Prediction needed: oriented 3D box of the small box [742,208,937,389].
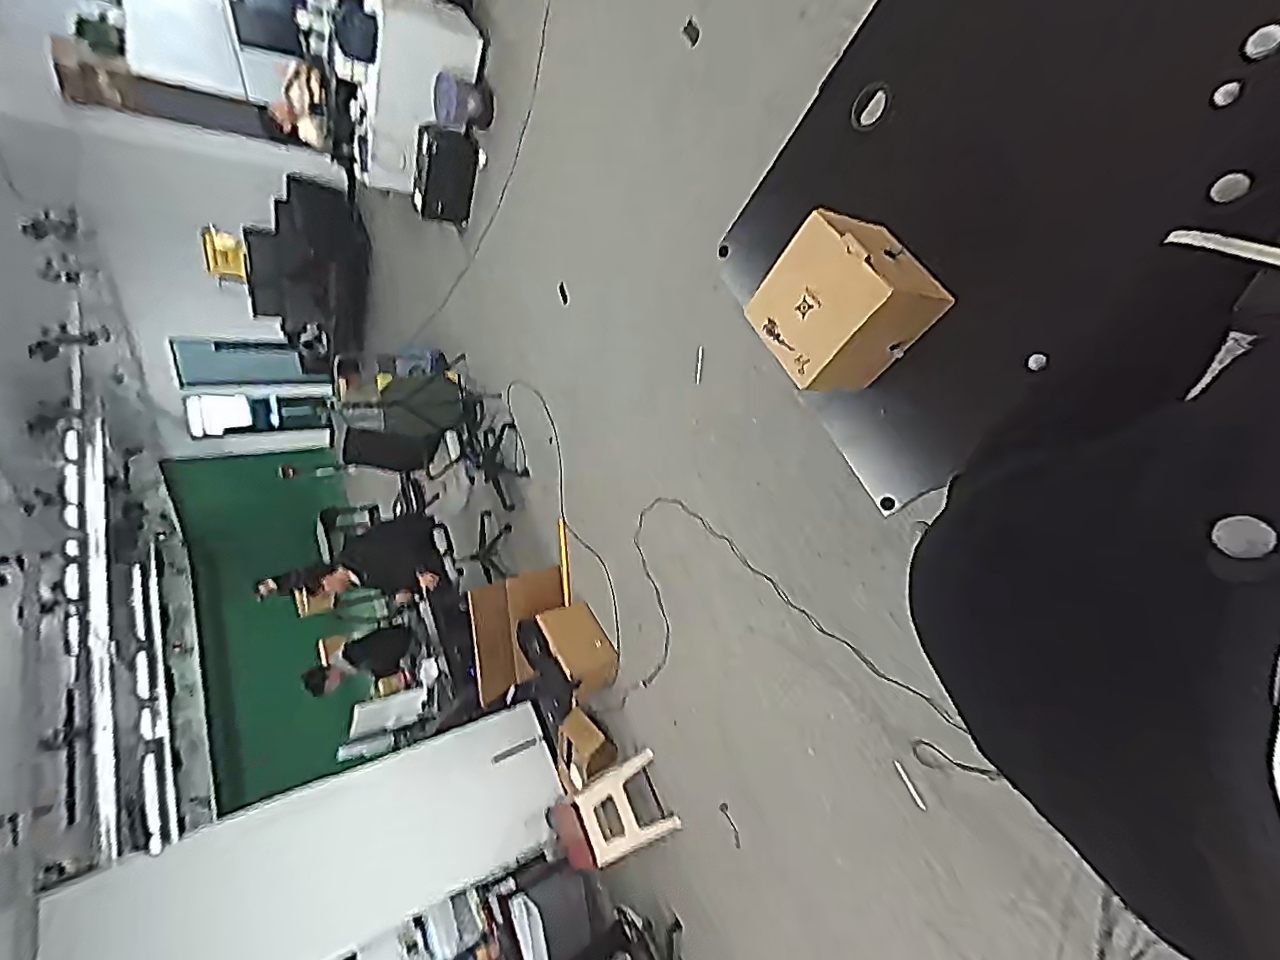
[{"bbox_3d":[0.289,-0.250,0.775,0.179,0.176,0.168,-52,56,43],"label":"small box"}]
